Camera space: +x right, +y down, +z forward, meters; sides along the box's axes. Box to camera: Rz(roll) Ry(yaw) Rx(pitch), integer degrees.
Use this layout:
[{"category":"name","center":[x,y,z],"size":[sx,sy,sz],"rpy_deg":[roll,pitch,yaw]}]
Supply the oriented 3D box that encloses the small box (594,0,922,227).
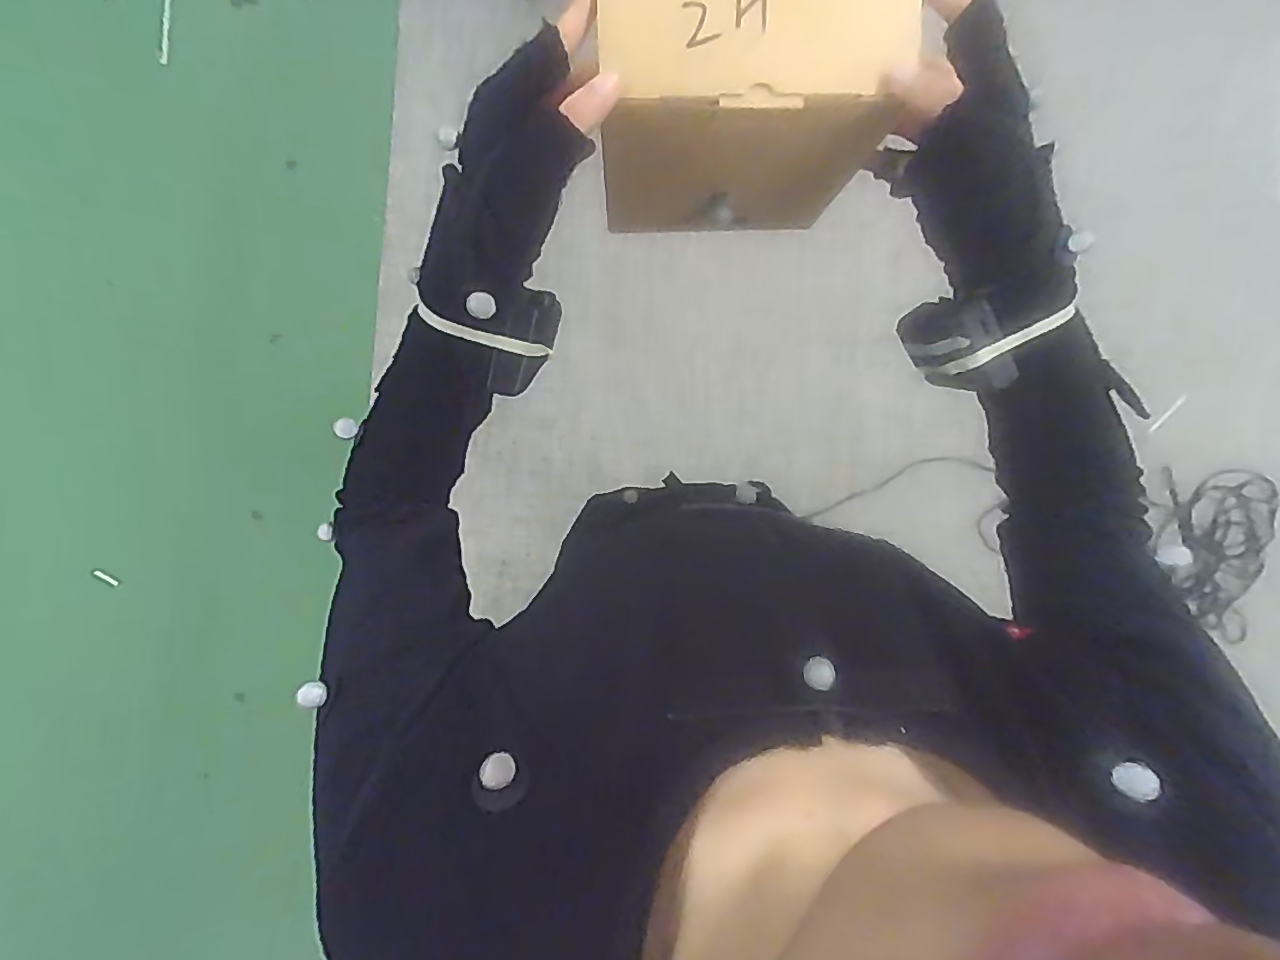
[{"category":"small box","center":[0.055,-0.287,0.346],"size":[0.168,0.176,0.179],"rpy_deg":[-1,92,-1]}]
